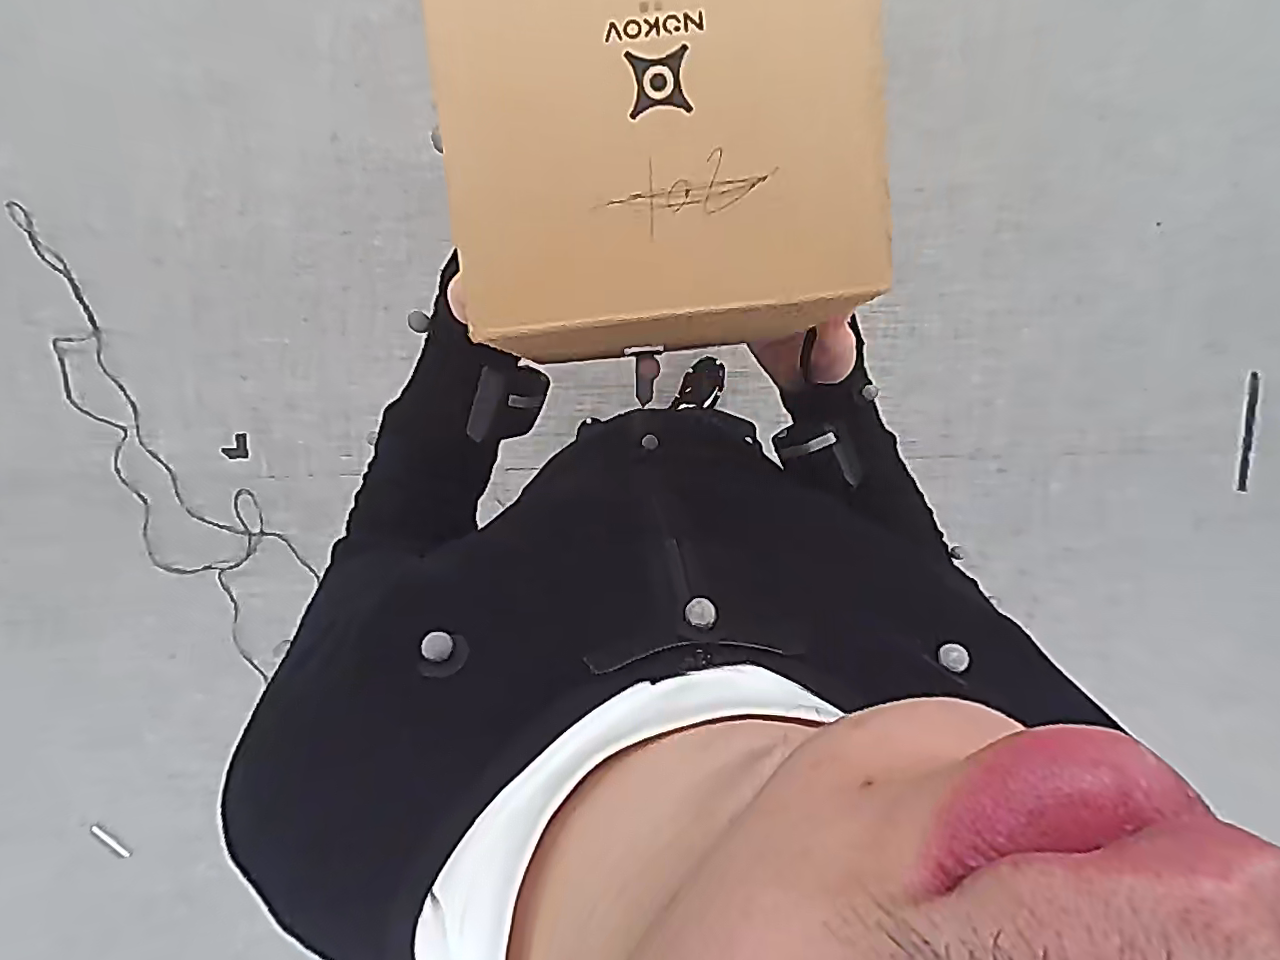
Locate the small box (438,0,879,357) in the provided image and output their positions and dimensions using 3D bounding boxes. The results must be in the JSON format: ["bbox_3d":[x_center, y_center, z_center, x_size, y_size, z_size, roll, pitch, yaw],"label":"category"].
[{"bbox_3d":[0.007,-0.168,0.289,0.168,0.176,0.179,-7,99,1],"label":"small box"}]
